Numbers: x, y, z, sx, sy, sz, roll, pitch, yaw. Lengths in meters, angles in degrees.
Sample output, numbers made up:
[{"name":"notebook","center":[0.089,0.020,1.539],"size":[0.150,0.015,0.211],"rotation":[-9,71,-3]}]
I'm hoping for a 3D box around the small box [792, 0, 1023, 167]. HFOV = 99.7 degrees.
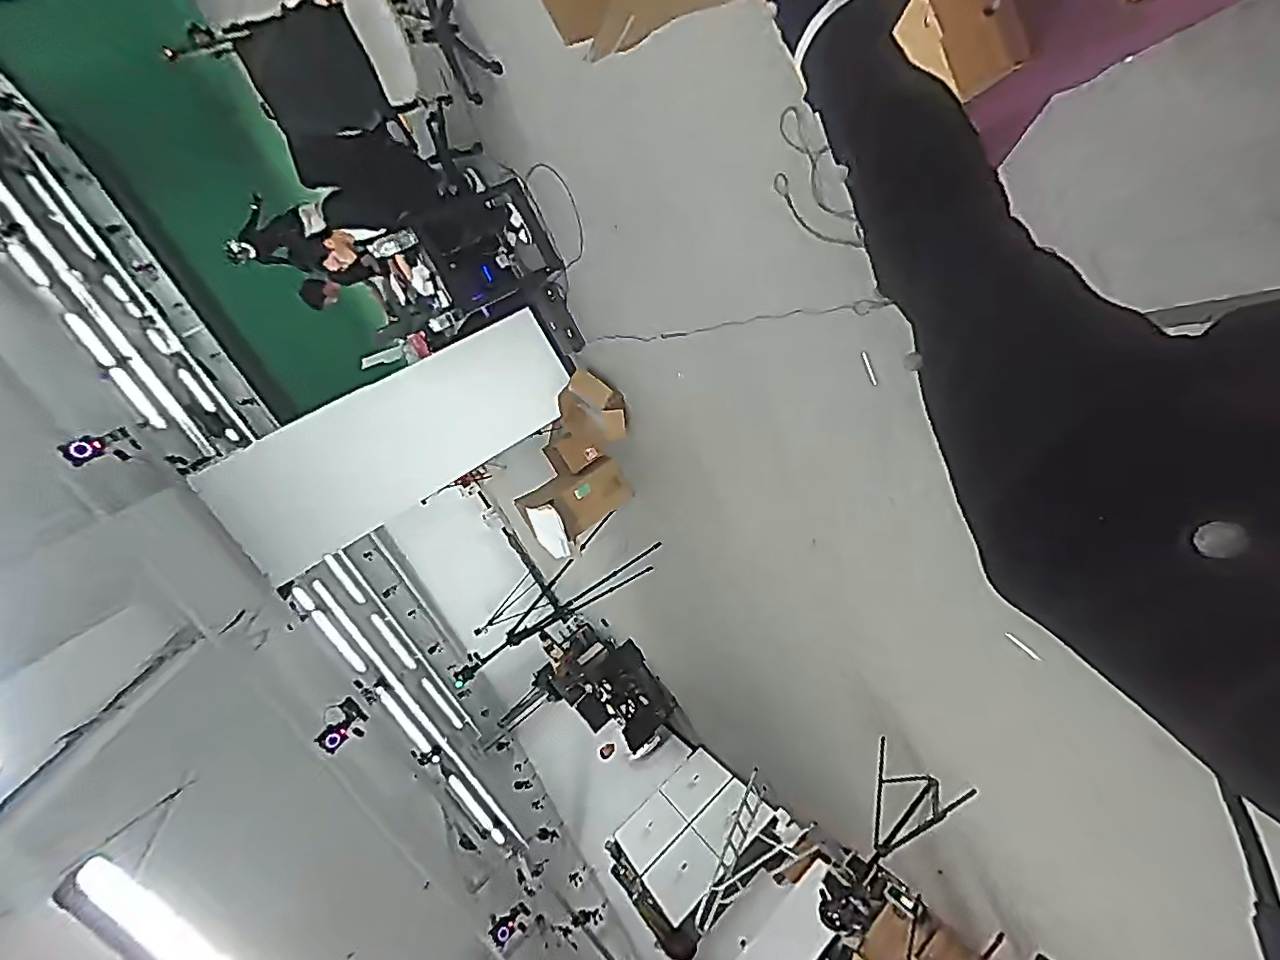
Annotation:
[{"name":"small box","center":[0.339,-0.549,0.695],"size":[0.168,0.176,0.179],"rotation":[59,157,-12]}]
